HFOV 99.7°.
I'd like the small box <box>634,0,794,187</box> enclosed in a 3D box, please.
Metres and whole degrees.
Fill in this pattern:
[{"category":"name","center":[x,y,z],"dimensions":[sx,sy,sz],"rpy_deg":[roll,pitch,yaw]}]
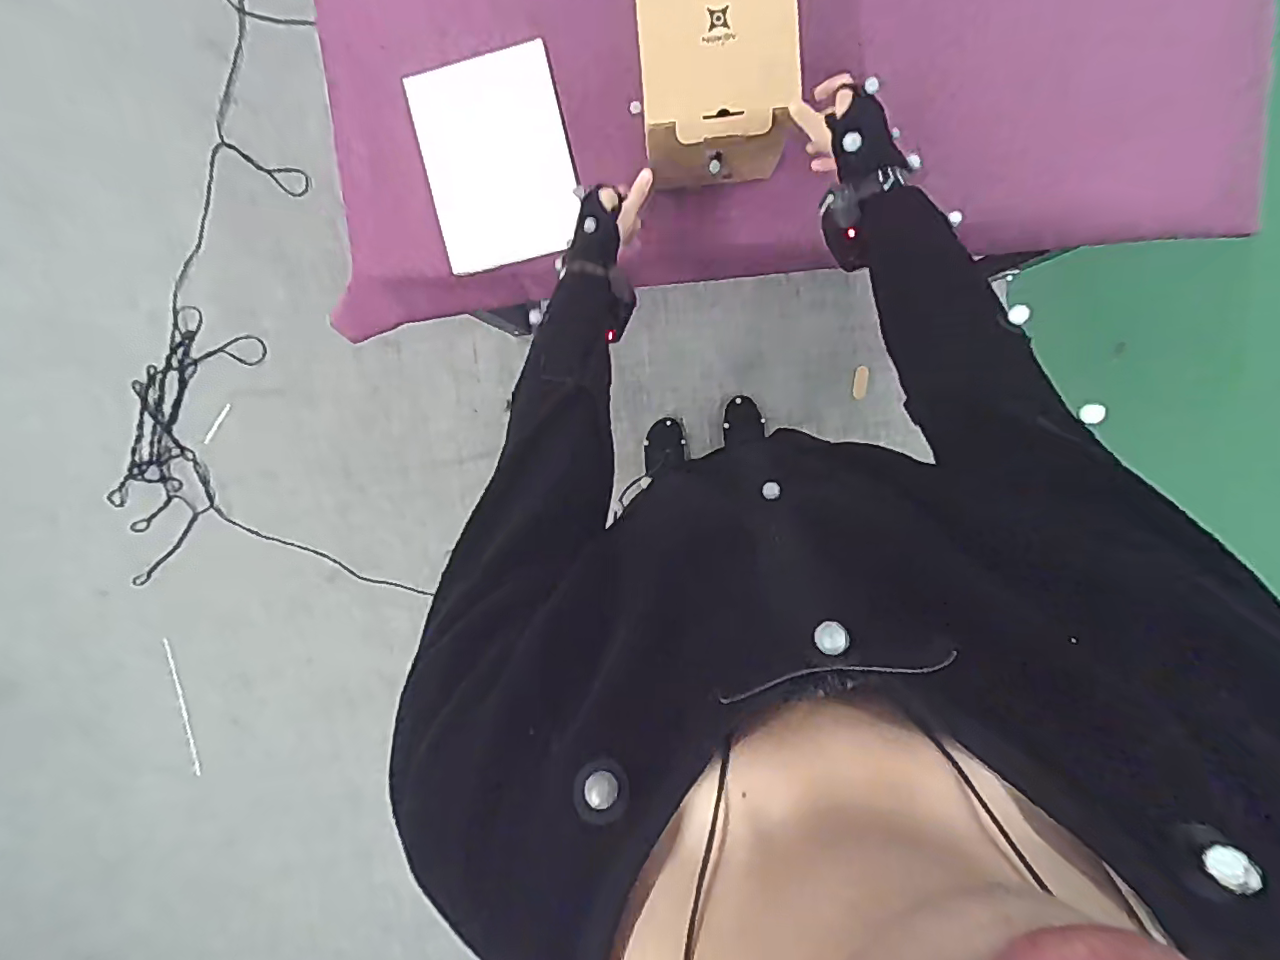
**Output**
[{"category":"small box","center":[0.083,-0.473,0.647],"dimensions":[0.168,0.176,0.179],"rpy_deg":[-4,97,3]}]
